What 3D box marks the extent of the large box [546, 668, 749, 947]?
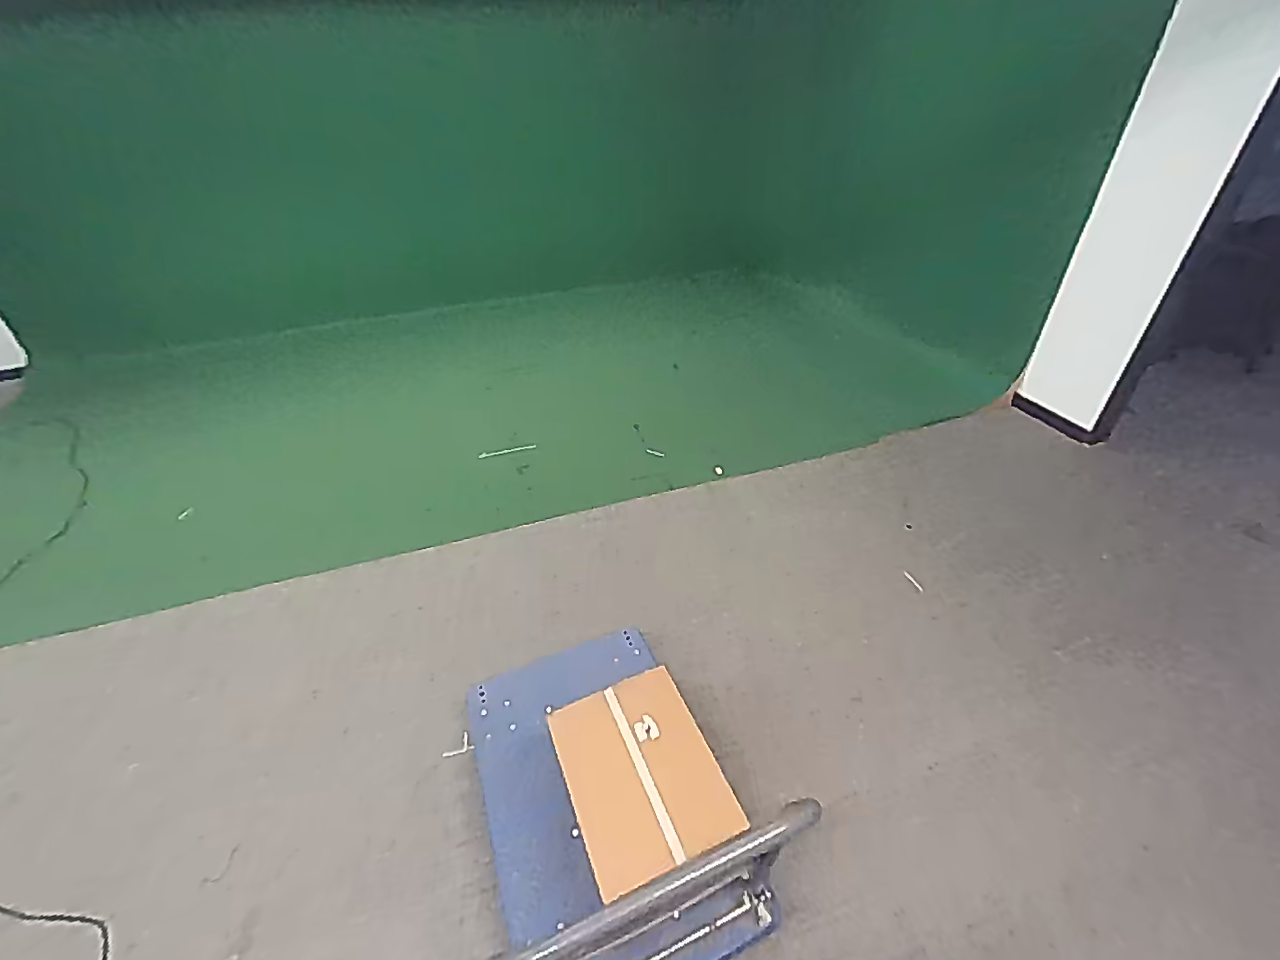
[{"bbox_3d":[0.008,0.735,1.251,0.320,0.320,0.408,-16,39,-17],"label":"large box"}]
